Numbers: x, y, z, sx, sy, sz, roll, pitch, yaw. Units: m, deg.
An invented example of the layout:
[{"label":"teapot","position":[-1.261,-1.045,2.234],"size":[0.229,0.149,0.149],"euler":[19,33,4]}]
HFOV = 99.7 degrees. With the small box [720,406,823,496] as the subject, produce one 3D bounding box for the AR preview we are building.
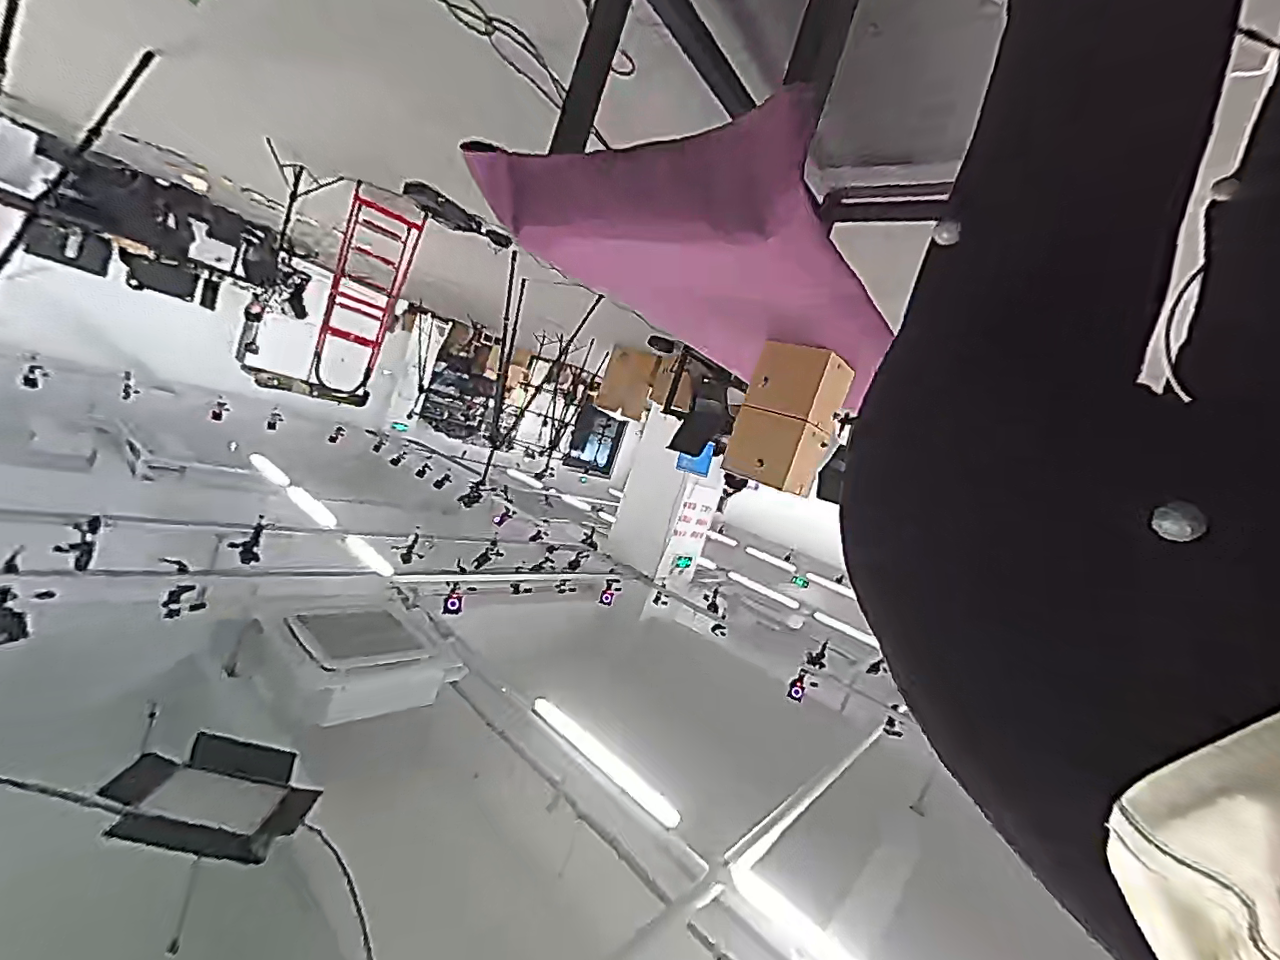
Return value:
[{"label":"small box","position":[0.328,-0.072,1.323],"size":[0.179,0.176,0.168],"euler":[23,-174,38]}]
